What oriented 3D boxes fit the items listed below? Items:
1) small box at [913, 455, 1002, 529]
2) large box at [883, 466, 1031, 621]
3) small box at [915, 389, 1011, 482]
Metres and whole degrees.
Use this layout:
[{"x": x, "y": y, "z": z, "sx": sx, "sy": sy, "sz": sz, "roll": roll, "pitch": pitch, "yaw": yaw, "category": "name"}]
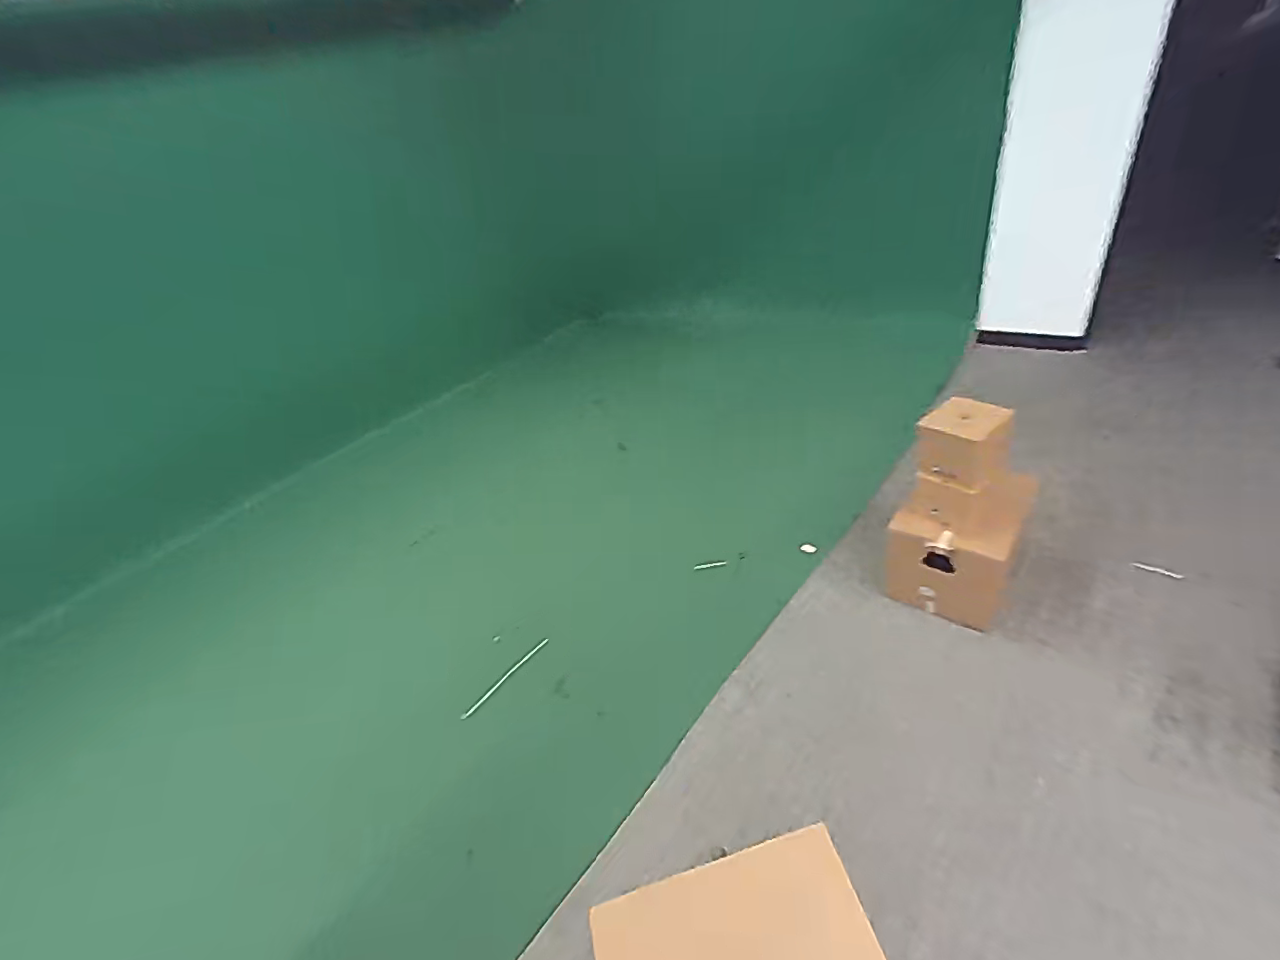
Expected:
[{"x": 0.924, "y": 0.010, "z": 1.589, "sx": 0.179, "sy": 0.176, "sz": 0.168, "roll": -34, "pitch": 38, "yaw": -23, "category": "small box"}, {"x": 1.017, "y": 0.174, "z": 1.753, "sx": 0.320, "sy": 0.320, "sz": 0.408, "roll": 19, "pitch": 47, "yaw": 38, "category": "large box"}, {"x": 0.889, "y": -0.124, "z": 1.504, "sx": 0.179, "sy": 0.176, "sz": 0.168, "roll": -33, "pitch": 37, "yaw": -20, "category": "small box"}]
